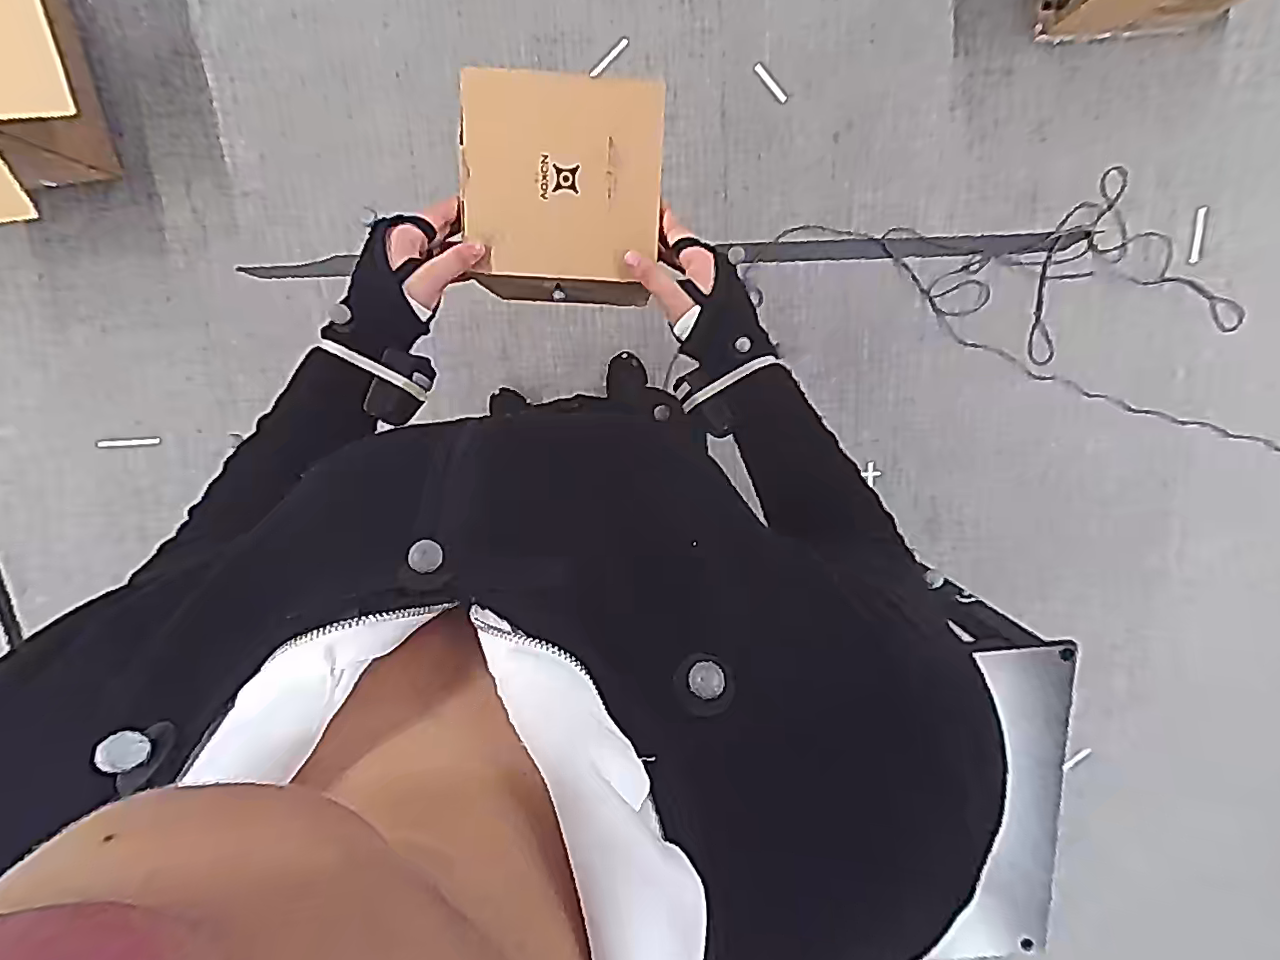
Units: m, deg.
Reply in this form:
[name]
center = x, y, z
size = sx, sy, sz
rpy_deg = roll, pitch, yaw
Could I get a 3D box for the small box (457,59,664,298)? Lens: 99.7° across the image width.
[small box]
center = -0.072, -0.282, 0.545
size = 0.179, 0.176, 0.168
rpy_deg = 1, 101, -4
